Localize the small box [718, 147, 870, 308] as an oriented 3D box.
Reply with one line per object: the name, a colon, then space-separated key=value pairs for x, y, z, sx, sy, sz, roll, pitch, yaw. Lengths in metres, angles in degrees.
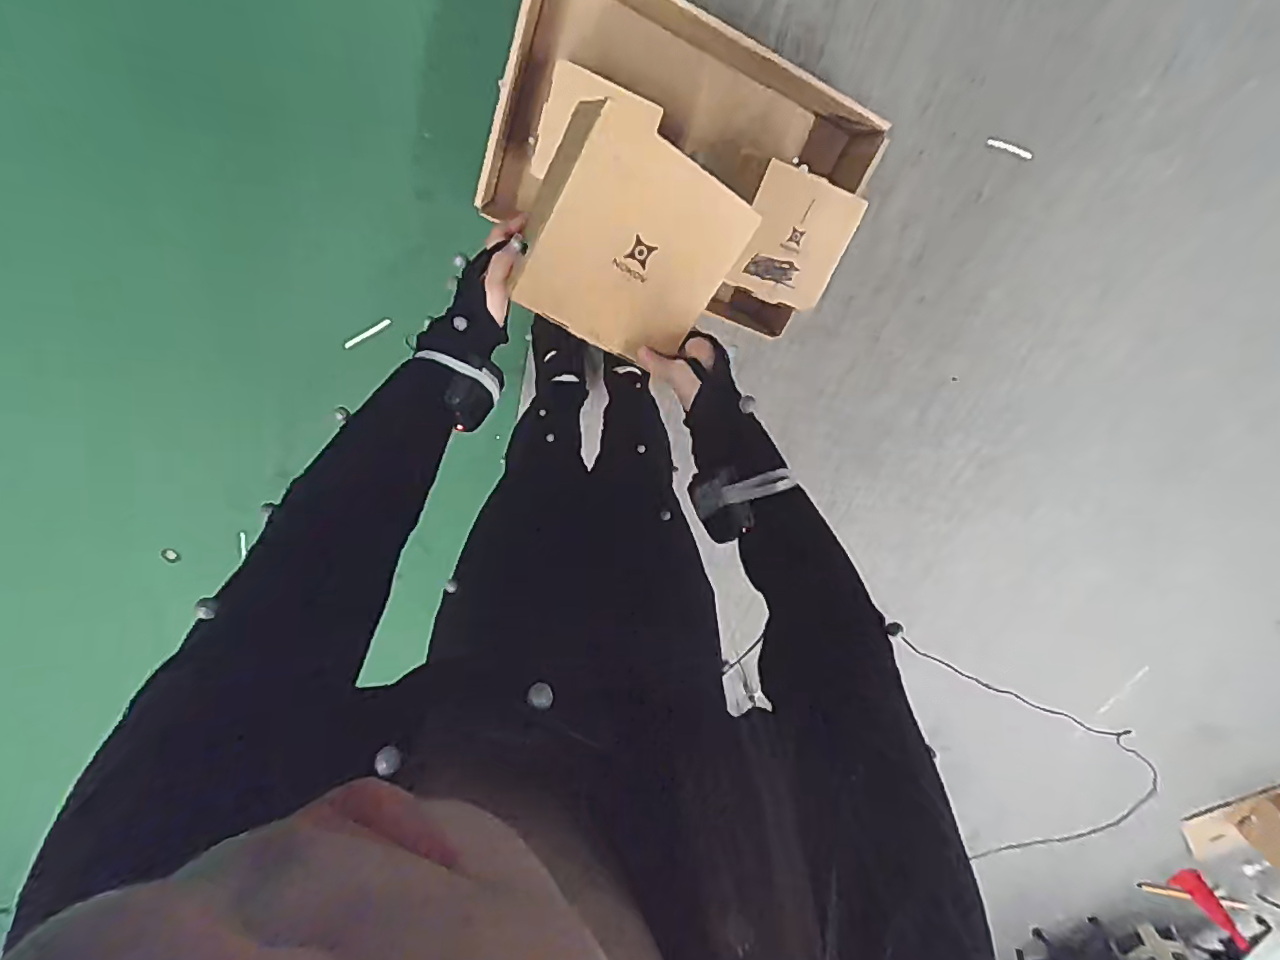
small box: x=0.222 y=-0.404 z=0.860 sx=0.168 sy=0.176 sz=0.179 roll=15 pitch=120 yaw=-14

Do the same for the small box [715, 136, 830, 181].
small box: x=0.212 y=-0.504 z=0.991 sx=0.168 sy=0.176 sz=0.179 roll=13 pitch=121 yaw=-13

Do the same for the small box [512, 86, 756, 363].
small box: x=-0.022 y=-0.256 z=0.545 sx=0.168 sy=0.176 sz=0.179 roll=22 pitch=118 yaw=-27
